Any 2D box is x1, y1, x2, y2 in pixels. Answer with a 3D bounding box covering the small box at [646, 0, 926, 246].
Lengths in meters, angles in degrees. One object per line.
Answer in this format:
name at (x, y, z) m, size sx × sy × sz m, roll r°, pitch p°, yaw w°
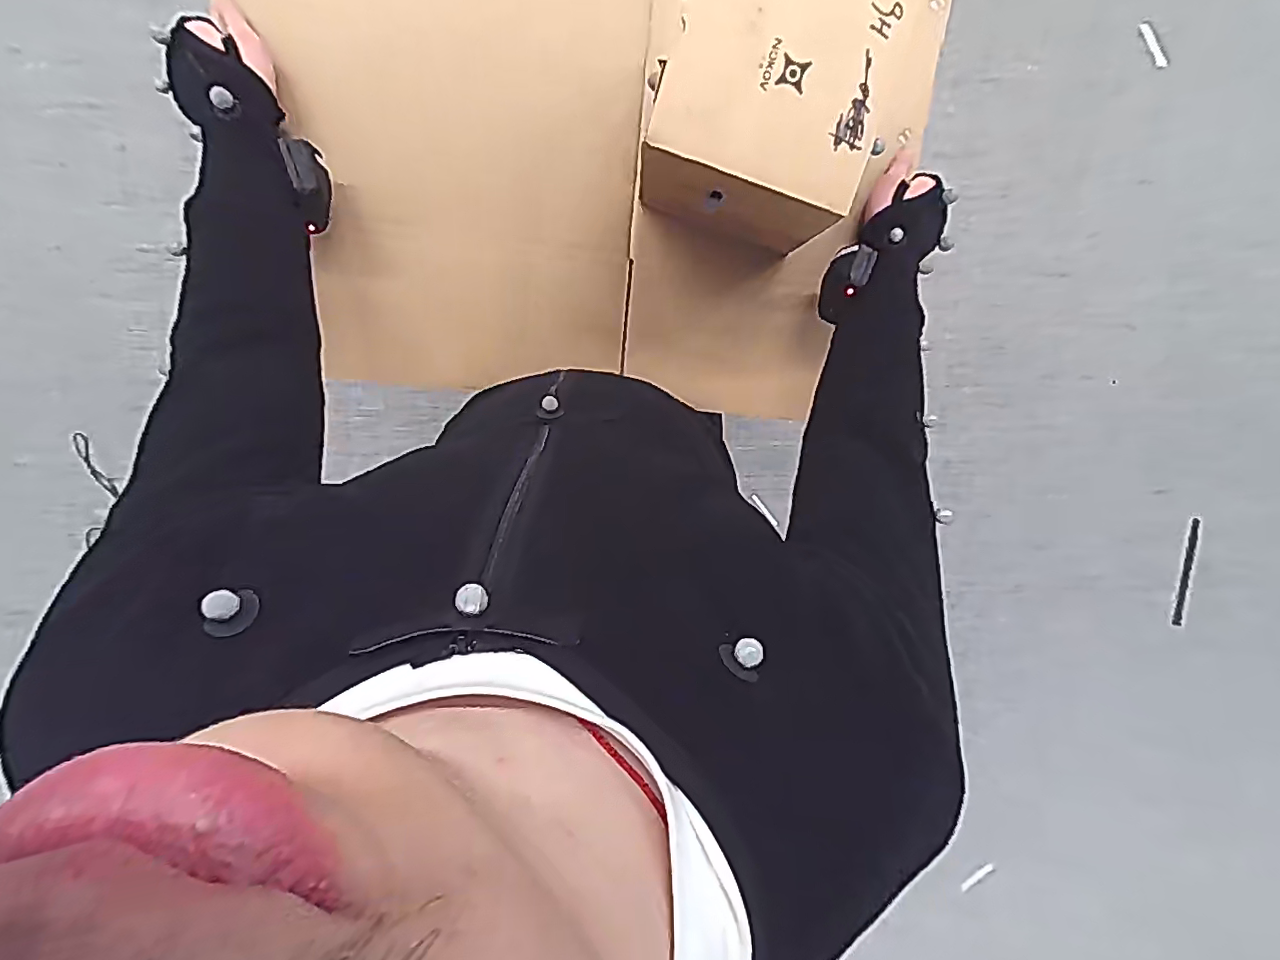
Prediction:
small box at (0.111, -0.334, 0.497) m, size 0.179 × 0.176 × 0.168 m, roll 17°, pitch 102°, yaw -4°
